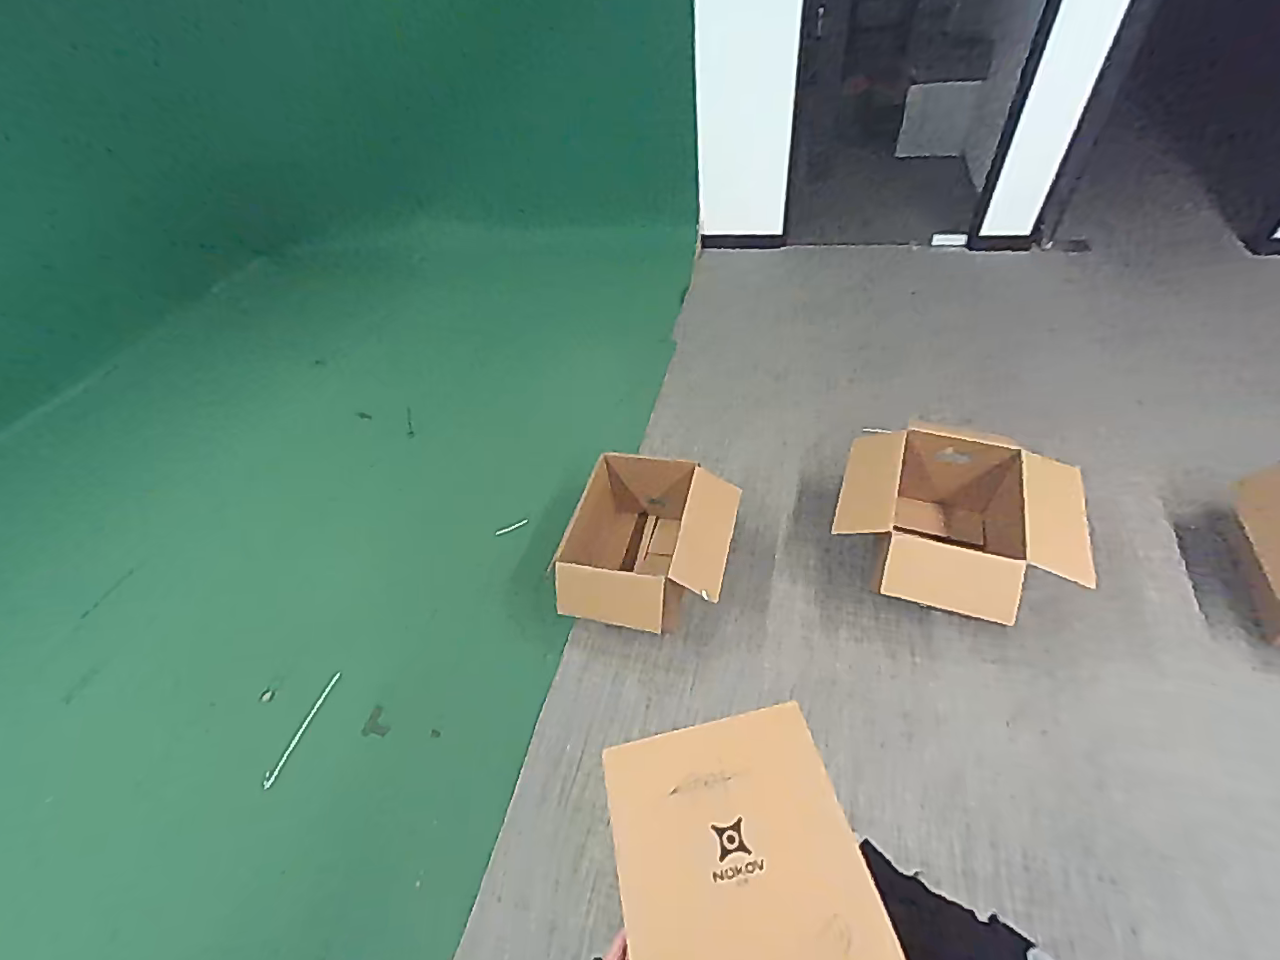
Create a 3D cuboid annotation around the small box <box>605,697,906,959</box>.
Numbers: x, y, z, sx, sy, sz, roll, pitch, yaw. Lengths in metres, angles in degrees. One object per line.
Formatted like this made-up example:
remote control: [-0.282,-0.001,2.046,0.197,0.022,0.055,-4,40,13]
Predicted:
small box: [0.075,0.307,0.427,0.168,0.176,0.179,-12,42,-3]
